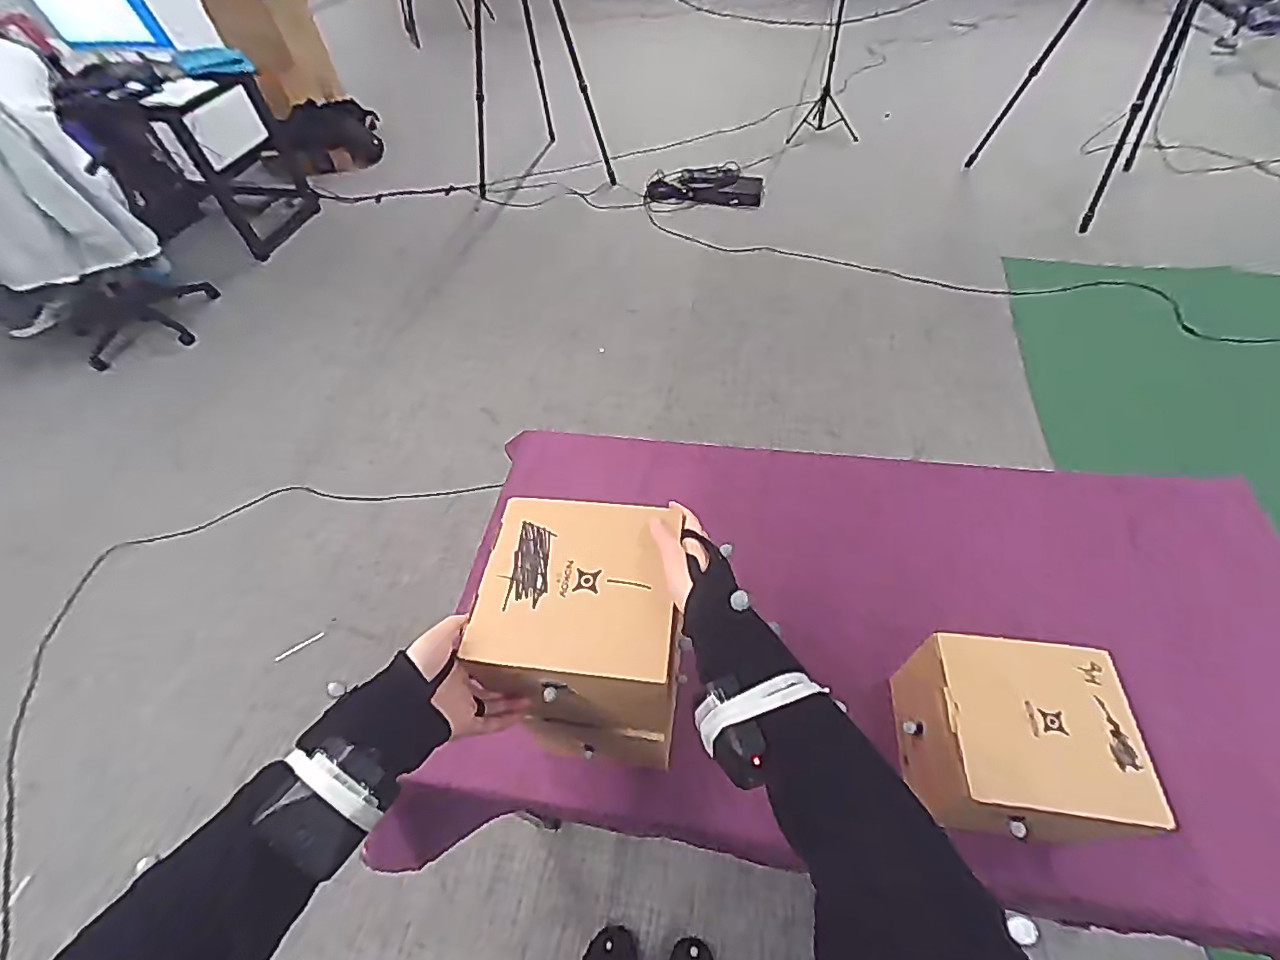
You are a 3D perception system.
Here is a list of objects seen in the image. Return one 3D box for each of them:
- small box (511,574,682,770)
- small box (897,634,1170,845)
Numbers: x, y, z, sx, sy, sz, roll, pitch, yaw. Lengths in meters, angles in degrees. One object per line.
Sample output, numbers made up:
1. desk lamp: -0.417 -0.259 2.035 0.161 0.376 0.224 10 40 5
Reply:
1. small box: -0.039 0.241 0.670 0.168 0.176 0.179 6 52 8
2. small box: 0.400 0.289 0.597 0.179 0.176 0.168 4 52 9
